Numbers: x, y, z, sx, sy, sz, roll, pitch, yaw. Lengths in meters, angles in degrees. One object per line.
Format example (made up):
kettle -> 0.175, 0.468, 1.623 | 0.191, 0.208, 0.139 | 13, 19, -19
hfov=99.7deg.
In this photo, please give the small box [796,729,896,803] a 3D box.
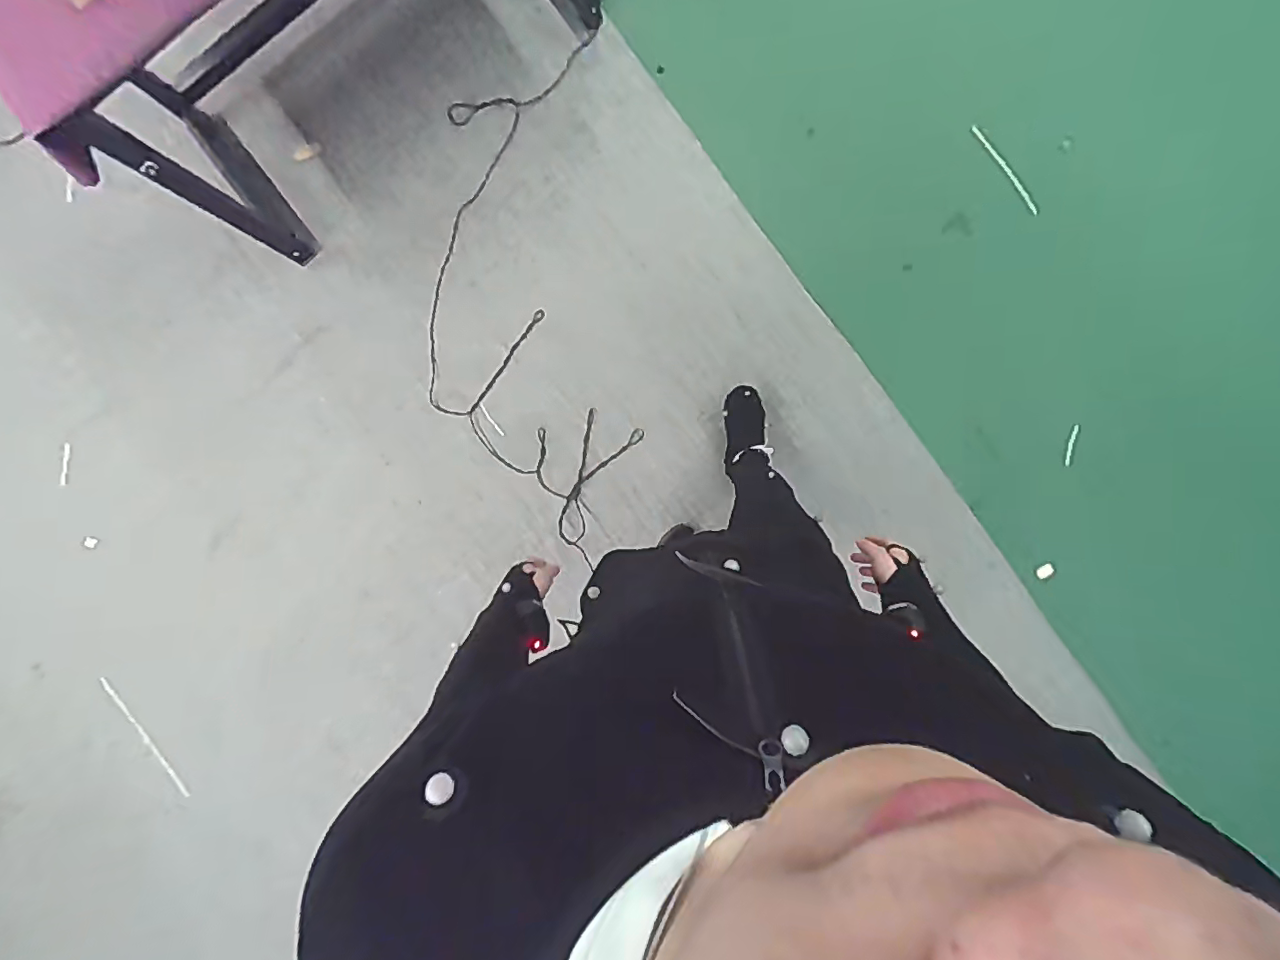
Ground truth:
small box -> 0.568, 0.840, 1.512 | 0.168, 0.176, 0.179 | -42, 88, 3
